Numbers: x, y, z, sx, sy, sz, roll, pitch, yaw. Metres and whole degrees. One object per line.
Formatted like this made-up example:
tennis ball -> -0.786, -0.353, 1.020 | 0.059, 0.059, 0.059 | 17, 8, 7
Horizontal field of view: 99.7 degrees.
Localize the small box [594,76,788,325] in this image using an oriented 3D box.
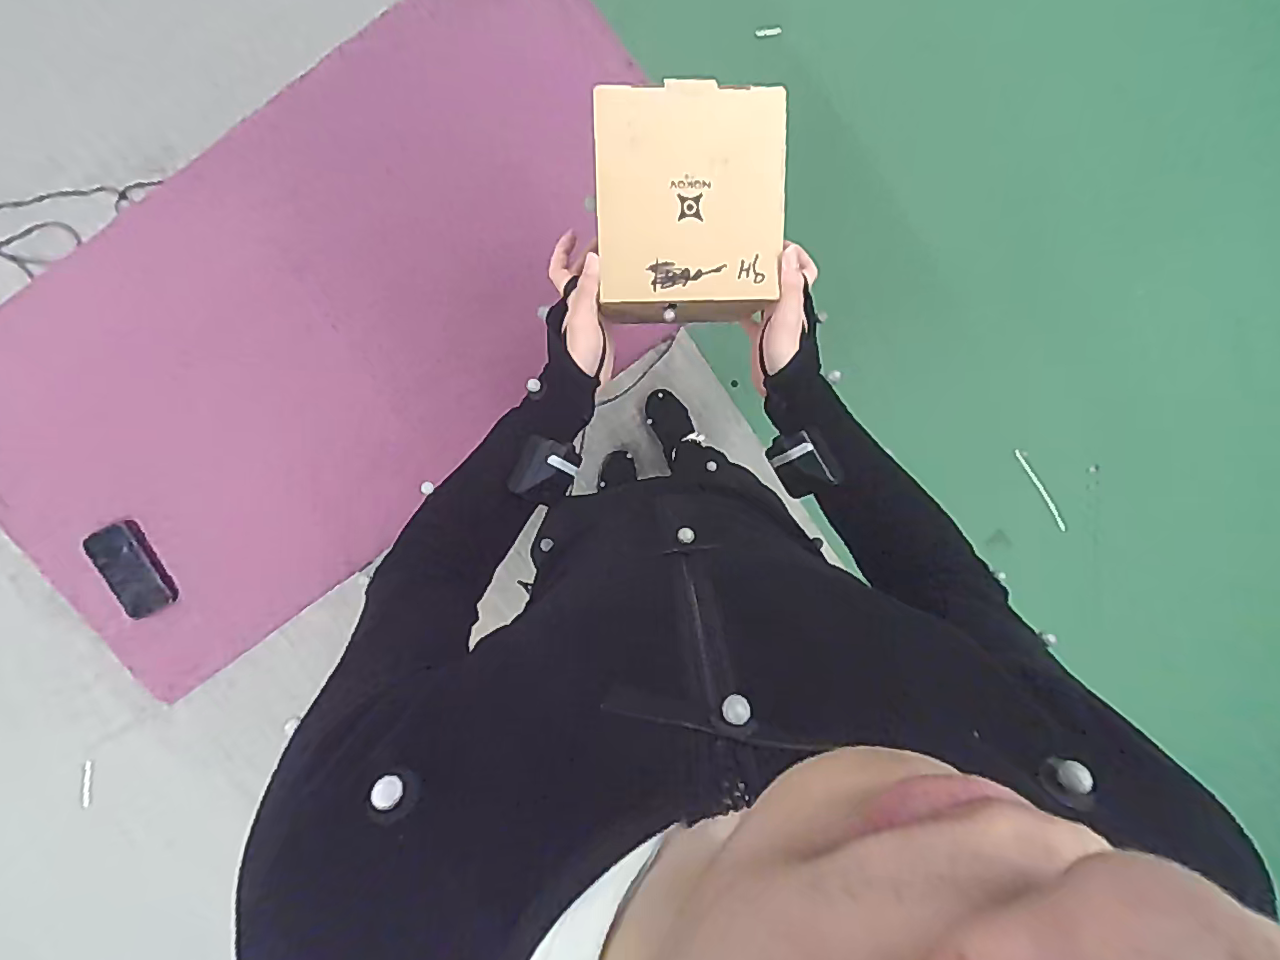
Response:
small box -> 0.038, -0.256, 0.535 | 0.168, 0.176, 0.179 | -1, 99, -2
